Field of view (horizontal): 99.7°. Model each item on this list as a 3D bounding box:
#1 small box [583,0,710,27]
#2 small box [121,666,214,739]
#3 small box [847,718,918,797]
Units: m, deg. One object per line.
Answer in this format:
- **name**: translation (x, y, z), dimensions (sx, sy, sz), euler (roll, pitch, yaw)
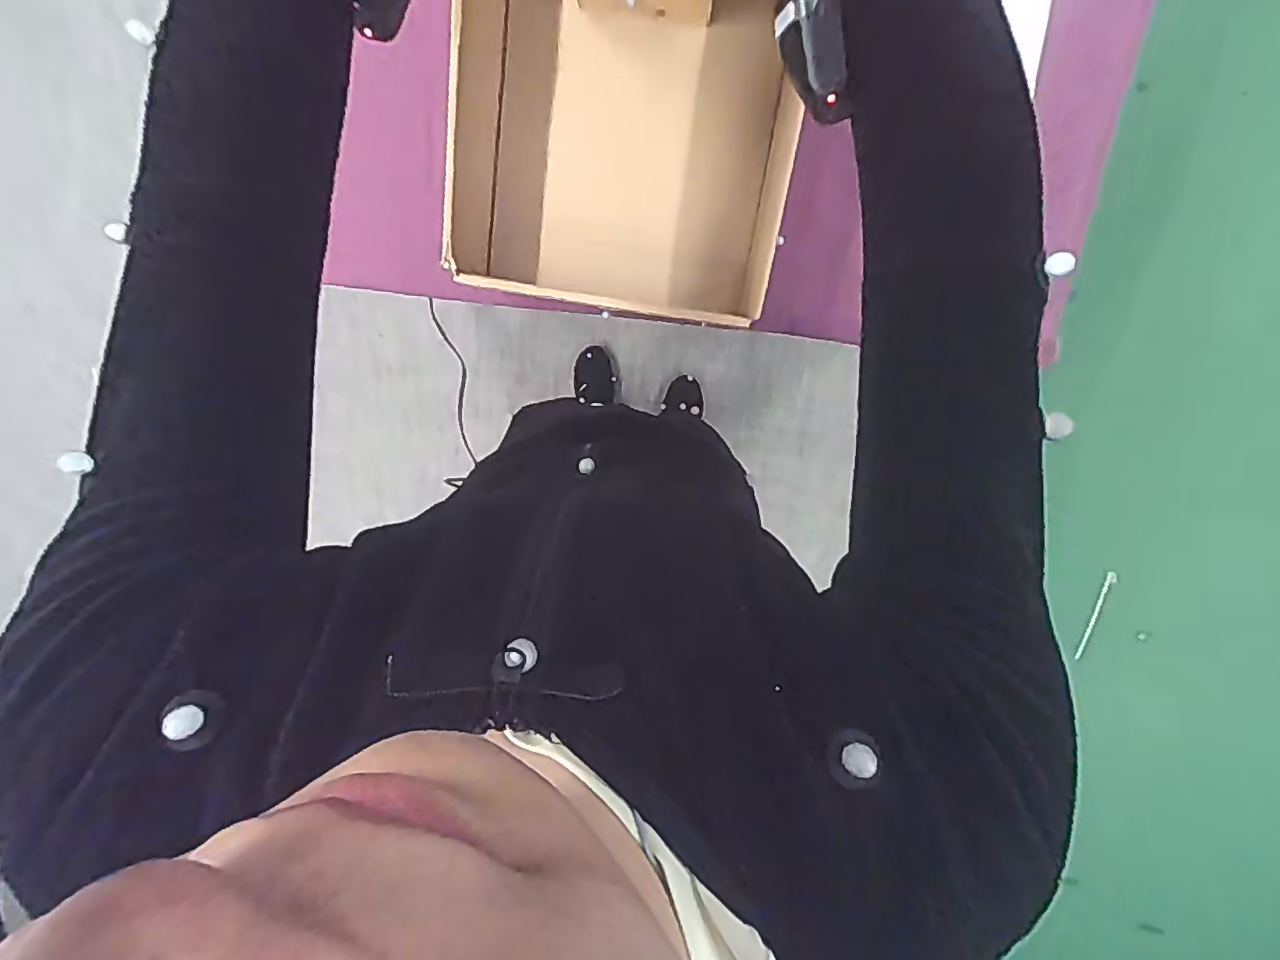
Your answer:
- **small box**: translation (0.010, -0.650, 0.593), dimensions (0.168, 0.176, 0.179), euler (6, 107, 0)
- **small box**: translation (-1.611, 0.762, 1.861), dimensions (0.179, 0.176, 0.168), euler (4, 105, 2)
- **small box**: translation (0.788, 0.903, 1.774), dimensions (0.168, 0.176, 0.179), euler (-3, 105, 4)
